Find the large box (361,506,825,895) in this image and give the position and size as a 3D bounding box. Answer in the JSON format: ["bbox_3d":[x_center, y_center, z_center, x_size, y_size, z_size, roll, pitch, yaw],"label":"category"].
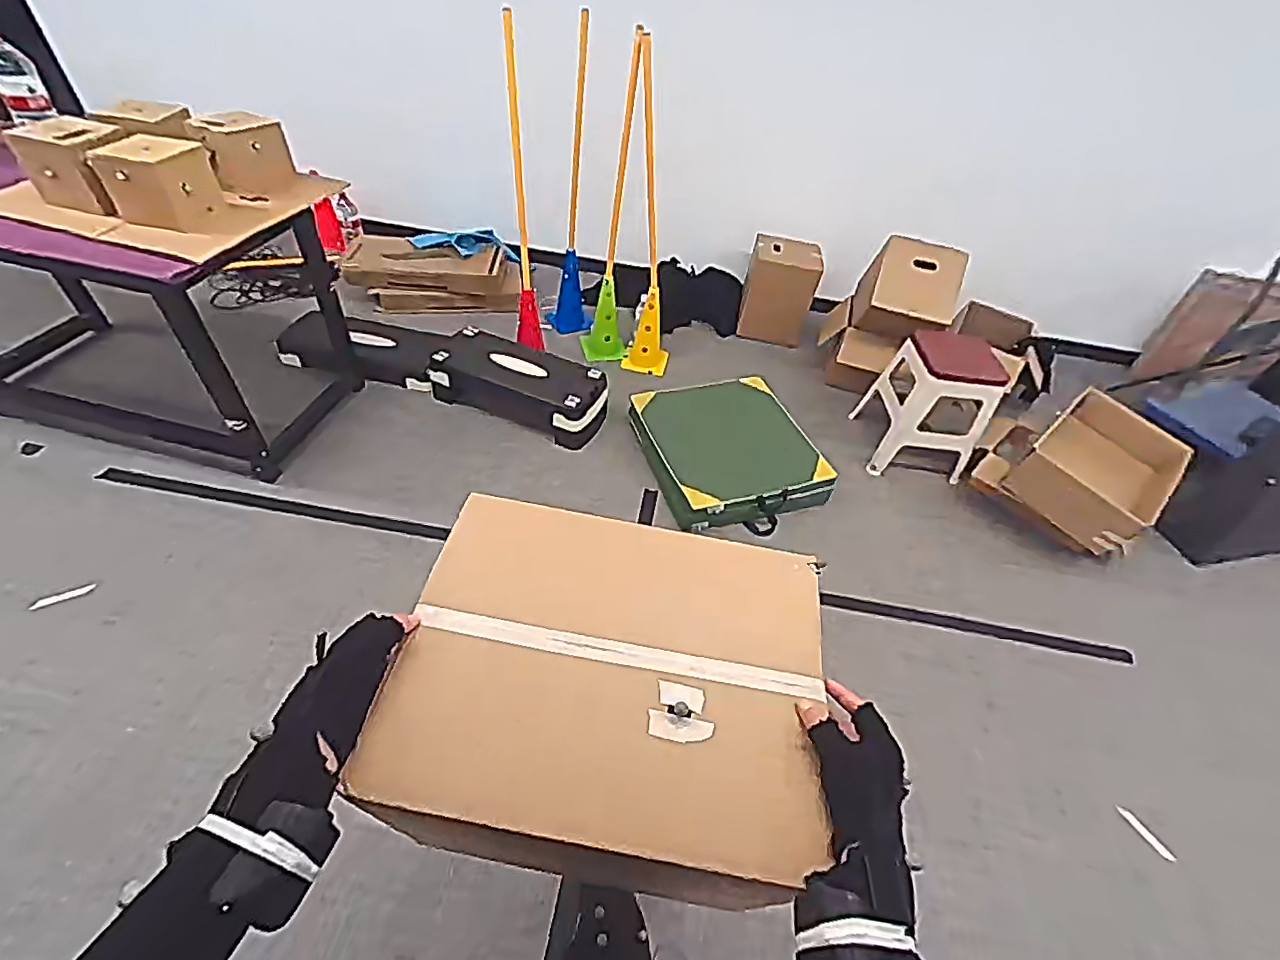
[{"bbox_3d":[-0.037,0.272,0.657,0.408,0.320,0.320,11,50,1],"label":"large box"}]
